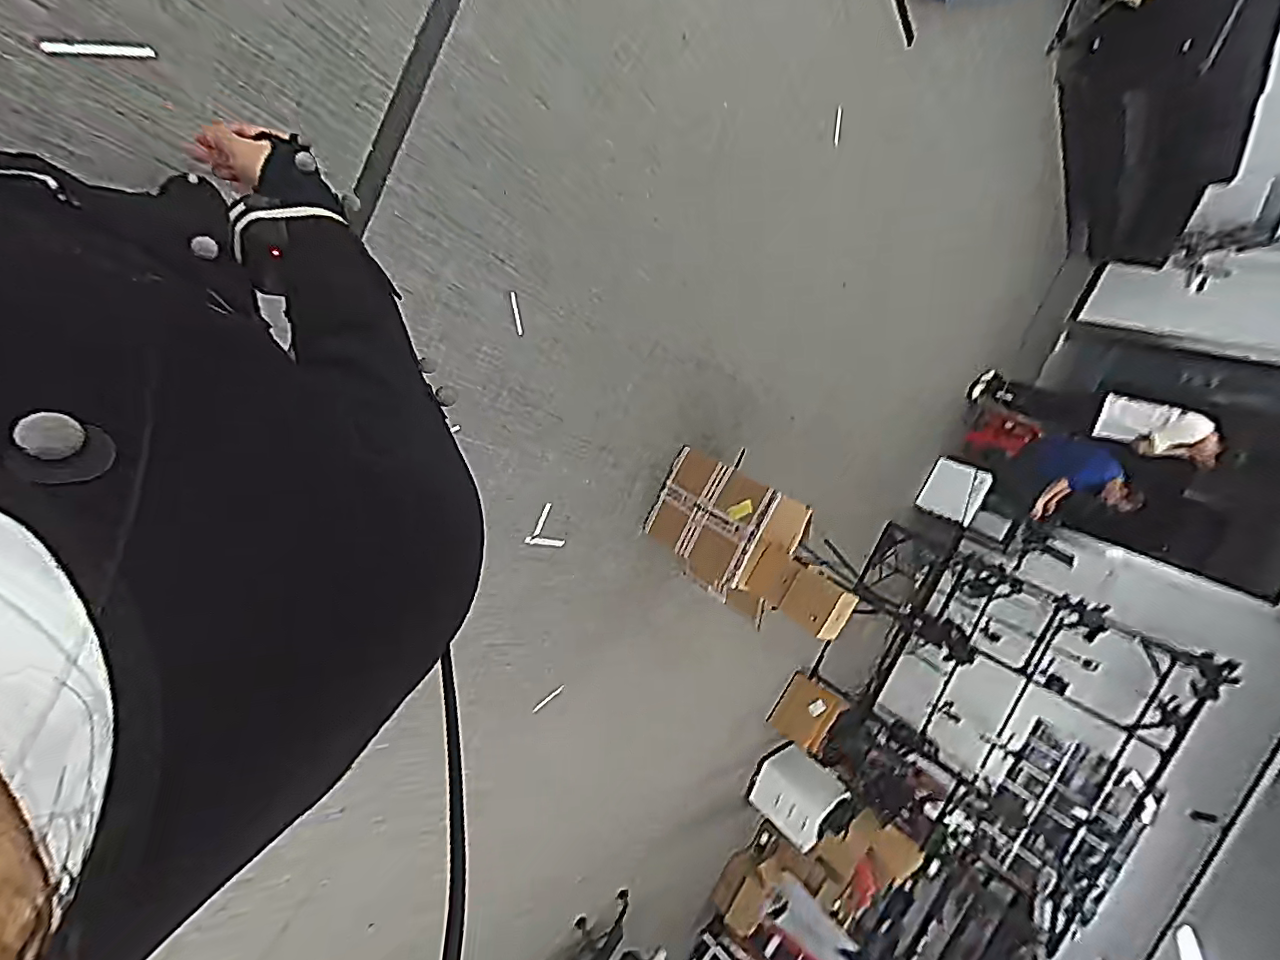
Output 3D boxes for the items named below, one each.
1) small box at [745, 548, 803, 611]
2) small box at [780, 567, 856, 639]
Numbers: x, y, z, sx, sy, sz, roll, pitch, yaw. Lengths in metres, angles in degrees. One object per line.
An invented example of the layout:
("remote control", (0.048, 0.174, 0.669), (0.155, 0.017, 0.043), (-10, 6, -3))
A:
("small box", (0.524, 0.375, 2.014), (0.168, 0.176, 0.179), (29, 93, -48))
("small box", (0.614, 0.430, 1.885), (0.168, 0.176, 0.179), (24, 96, -48))
